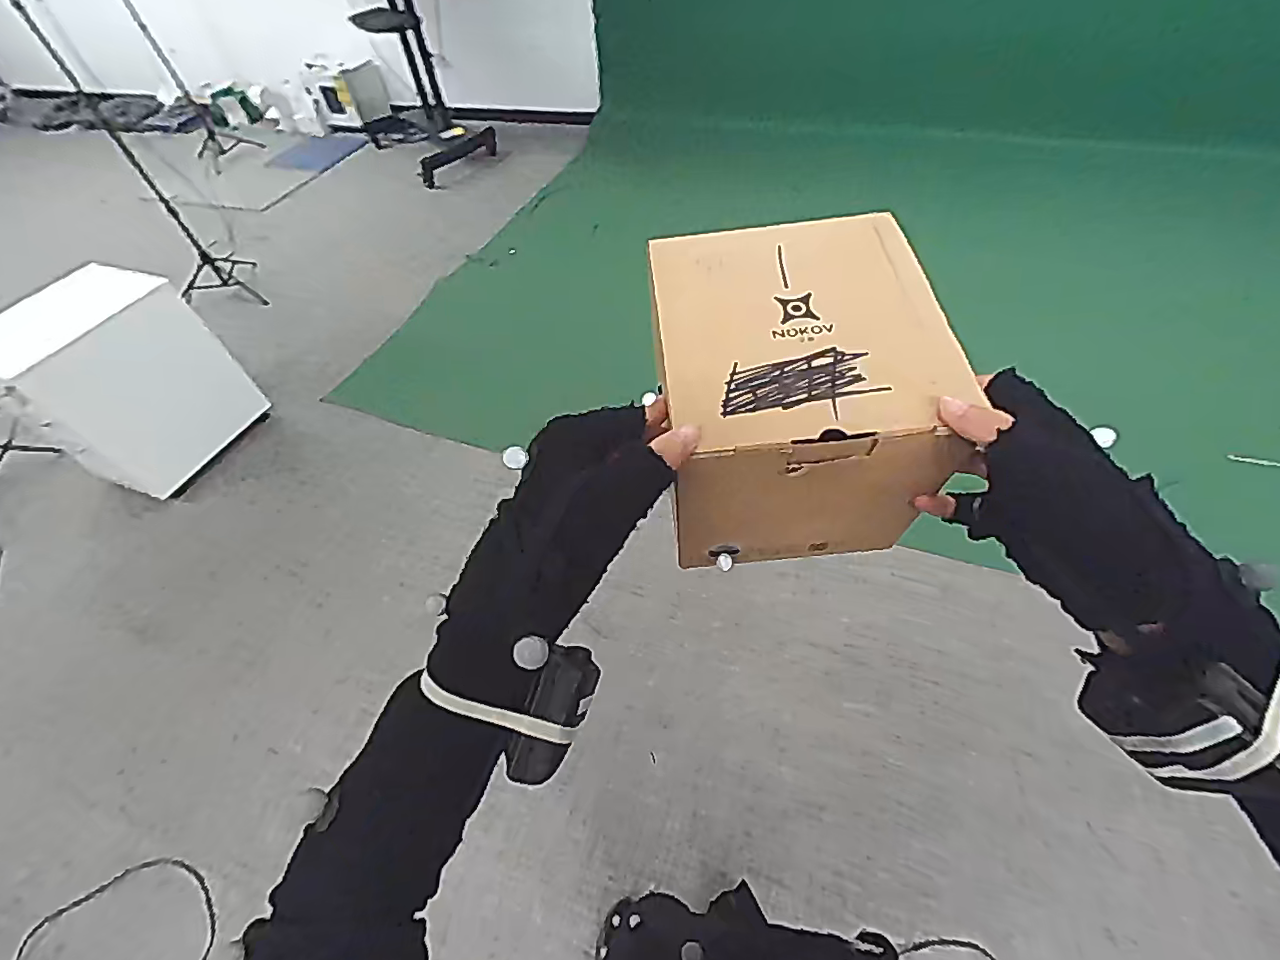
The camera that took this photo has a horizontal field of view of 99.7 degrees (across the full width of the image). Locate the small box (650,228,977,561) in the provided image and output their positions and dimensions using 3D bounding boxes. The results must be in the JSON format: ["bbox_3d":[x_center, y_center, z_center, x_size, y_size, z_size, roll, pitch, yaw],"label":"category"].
[{"bbox_3d":[0.100,-0.049,0.398,0.168,0.176,0.179,-6,60,2],"label":"small box"}]
